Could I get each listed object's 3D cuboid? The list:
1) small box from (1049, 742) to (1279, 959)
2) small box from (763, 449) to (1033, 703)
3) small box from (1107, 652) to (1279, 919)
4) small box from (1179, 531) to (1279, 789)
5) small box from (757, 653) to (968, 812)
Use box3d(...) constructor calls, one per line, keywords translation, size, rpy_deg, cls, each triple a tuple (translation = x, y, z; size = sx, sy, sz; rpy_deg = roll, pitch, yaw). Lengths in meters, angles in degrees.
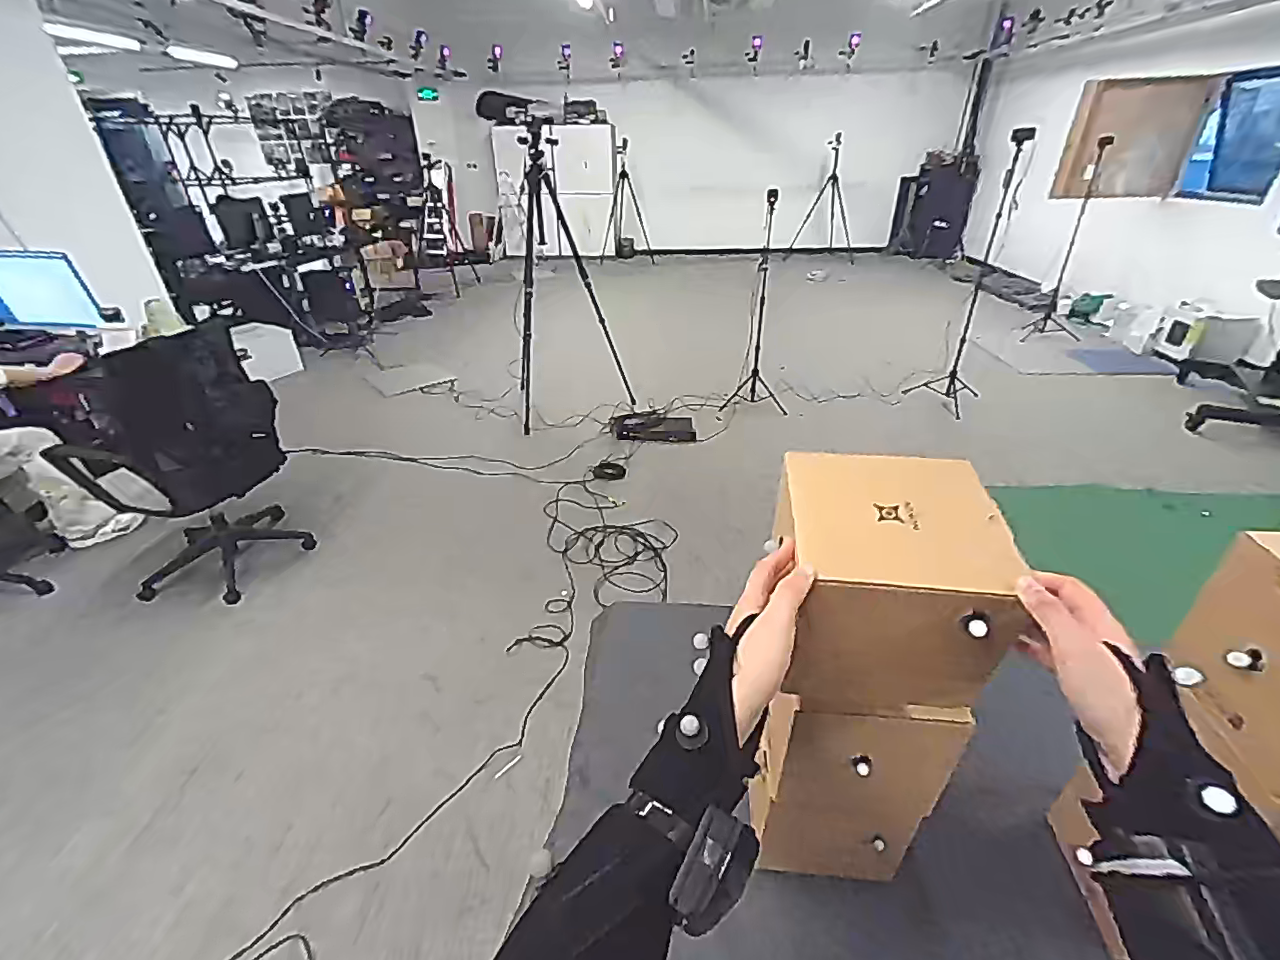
box3d(translation=(0.635, 0.443, 0.633), size=(0.179, 0.176, 0.168), rpy_deg=(4, 30, 9), cls="small box")
box3d(translation=(0.210, 0.088, 0.506), size=(0.179, 0.176, 0.168), rpy_deg=(3, 41, 7), cls="small box")
box3d(translation=(0.629, 0.307, 0.545), size=(0.168, 0.176, 0.179), rpy_deg=(3, 32, 11), cls="small box")
box3d(translation=(0.627, 0.164, 0.464), size=(0.179, 0.176, 0.168), rpy_deg=(4, 31, 13), cls="small box")
box3d(translation=(0.240, 0.261, 0.636), size=(0.179, 0.176, 0.168), rpy_deg=(2, 31, 5), cls="small box")
